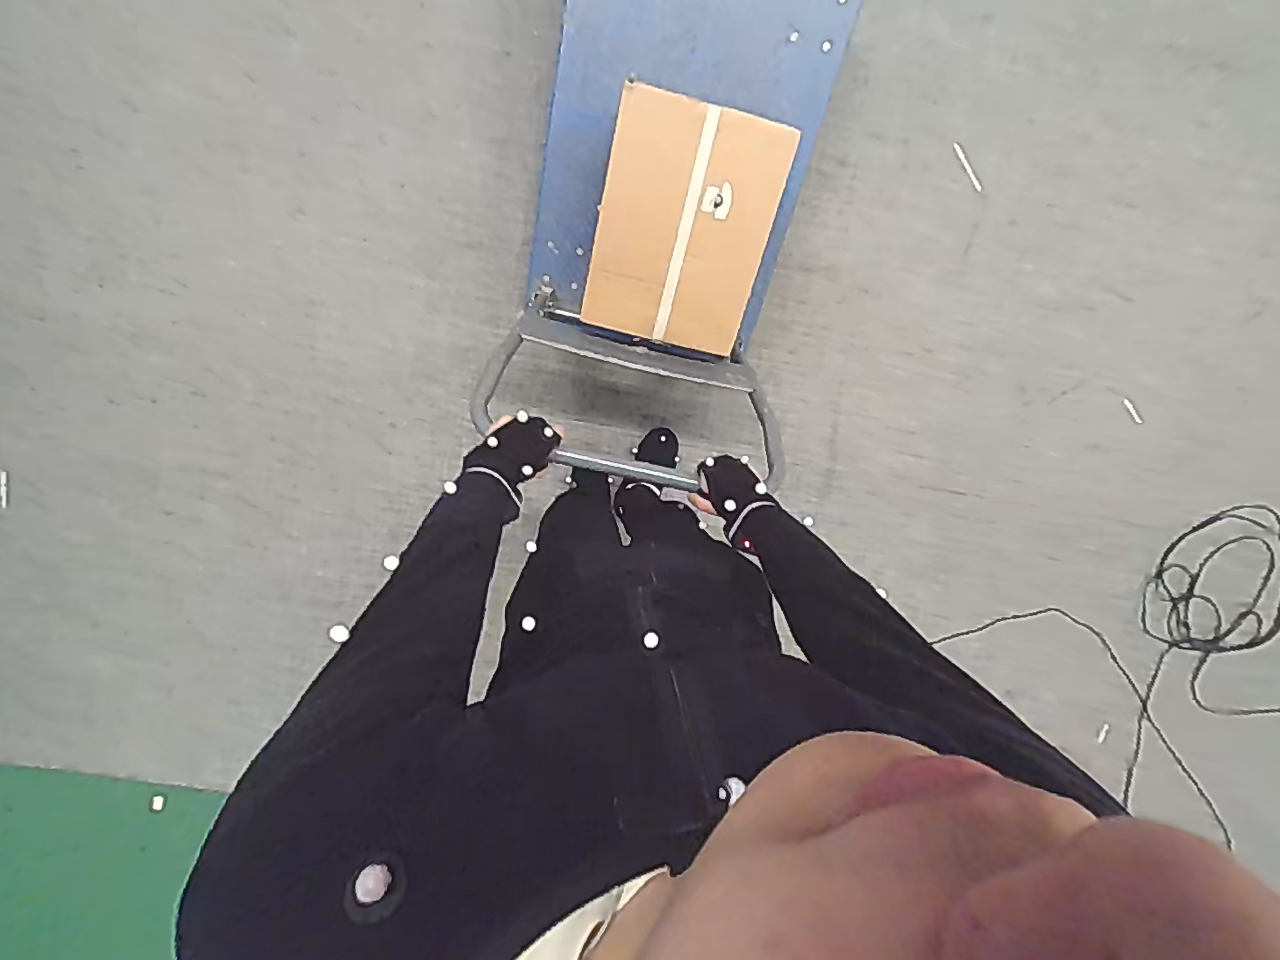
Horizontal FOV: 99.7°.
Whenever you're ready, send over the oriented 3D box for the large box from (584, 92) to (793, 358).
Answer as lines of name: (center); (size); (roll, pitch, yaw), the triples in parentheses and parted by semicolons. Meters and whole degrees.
large box: (0.078, -0.514, 1.139); (0.320, 0.320, 0.408); (12, 116, -6)
